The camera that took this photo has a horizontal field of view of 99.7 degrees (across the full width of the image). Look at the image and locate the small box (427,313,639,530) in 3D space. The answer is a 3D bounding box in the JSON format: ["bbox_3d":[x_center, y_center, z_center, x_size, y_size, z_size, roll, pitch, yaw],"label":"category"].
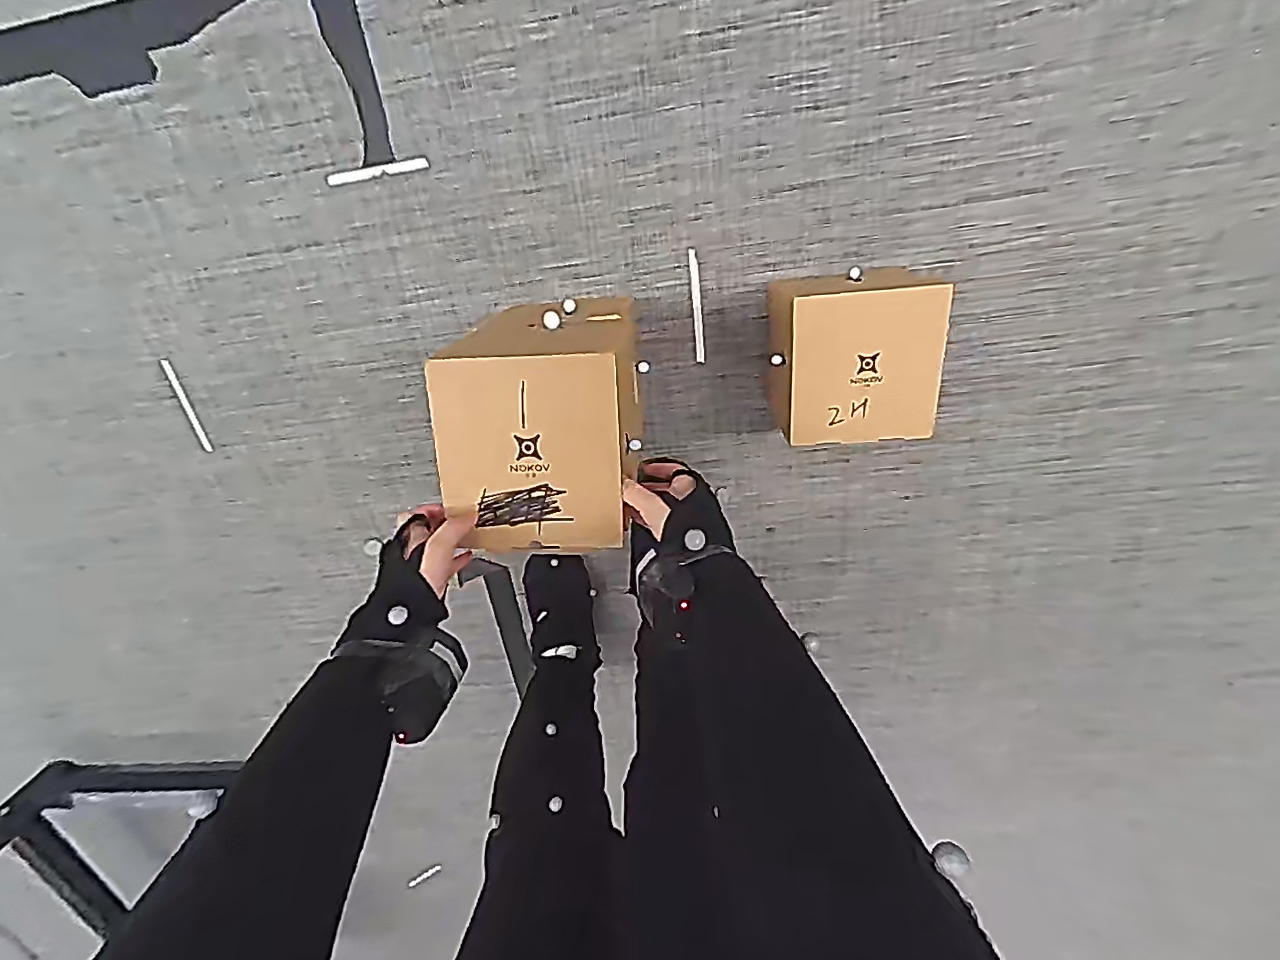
[{"bbox_3d":[-0.090,-0.066,0.553,0.168,0.176,0.179,-1,116,4],"label":"small box"}]

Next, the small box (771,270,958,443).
[{"bbox_3d":[0.258,-0.160,0.669,0.168,0.176,0.179,-3,116,5],"label":"small box"}]

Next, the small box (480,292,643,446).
[{"bbox_3d":[-0.088,-0.143,0.699,0.179,0.176,0.168,-3,116,4],"label":"small box"}]
